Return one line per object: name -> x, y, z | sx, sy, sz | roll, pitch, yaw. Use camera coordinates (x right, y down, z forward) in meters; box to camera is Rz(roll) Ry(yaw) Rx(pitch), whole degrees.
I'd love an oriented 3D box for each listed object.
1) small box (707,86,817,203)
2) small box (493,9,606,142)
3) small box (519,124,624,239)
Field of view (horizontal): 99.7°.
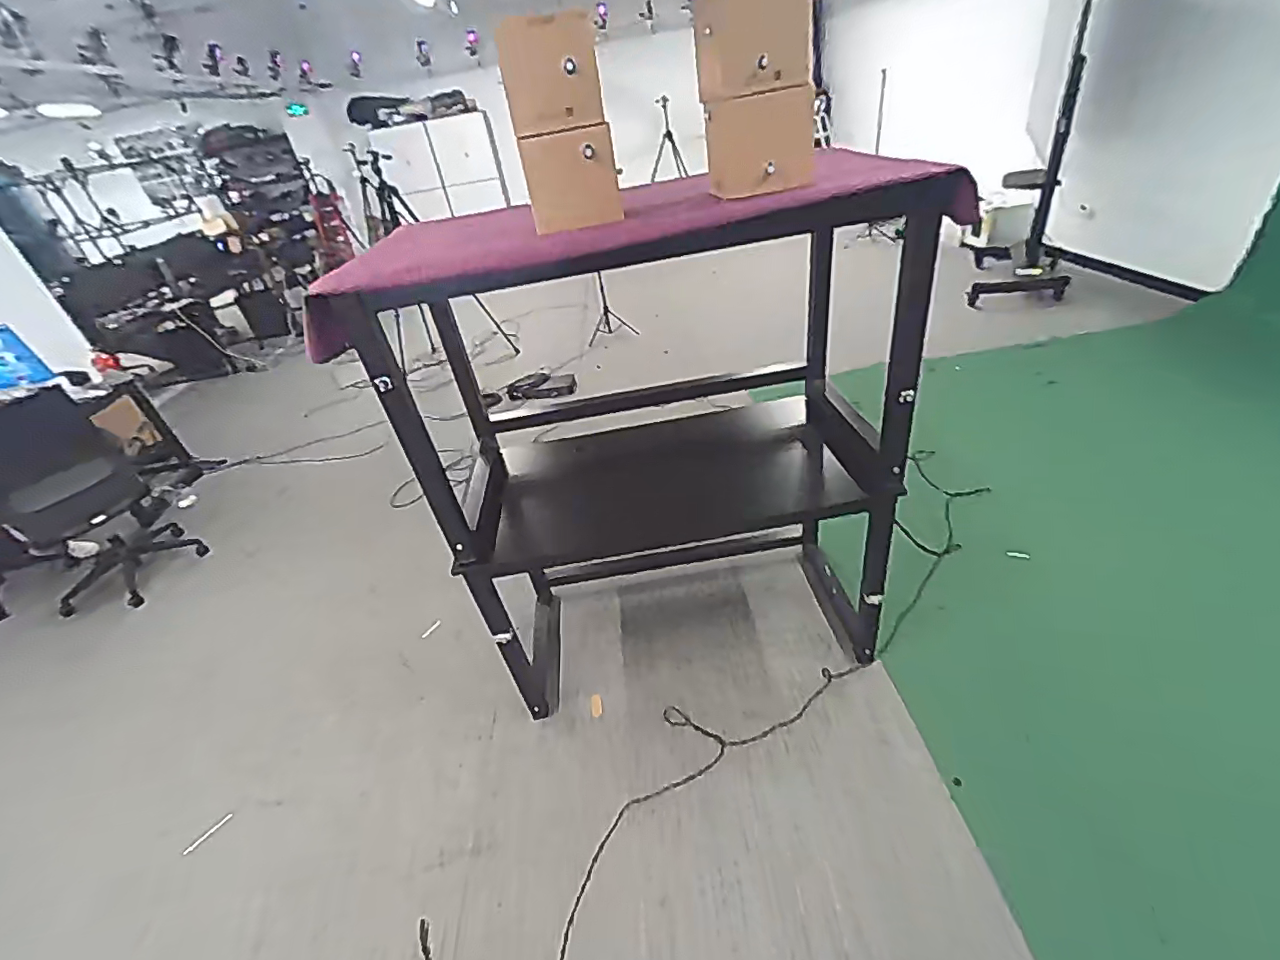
small box -> 0.239, -0.669, 1.083 | 0.179, 0.176, 0.168 | -10, 33, 1
small box -> -0.157, -0.737, 1.003 | 0.168, 0.176, 0.179 | -9, 34, 2
small box -> -0.129, -0.603, 1.091 | 0.179, 0.176, 0.168 | -10, 34, 2
